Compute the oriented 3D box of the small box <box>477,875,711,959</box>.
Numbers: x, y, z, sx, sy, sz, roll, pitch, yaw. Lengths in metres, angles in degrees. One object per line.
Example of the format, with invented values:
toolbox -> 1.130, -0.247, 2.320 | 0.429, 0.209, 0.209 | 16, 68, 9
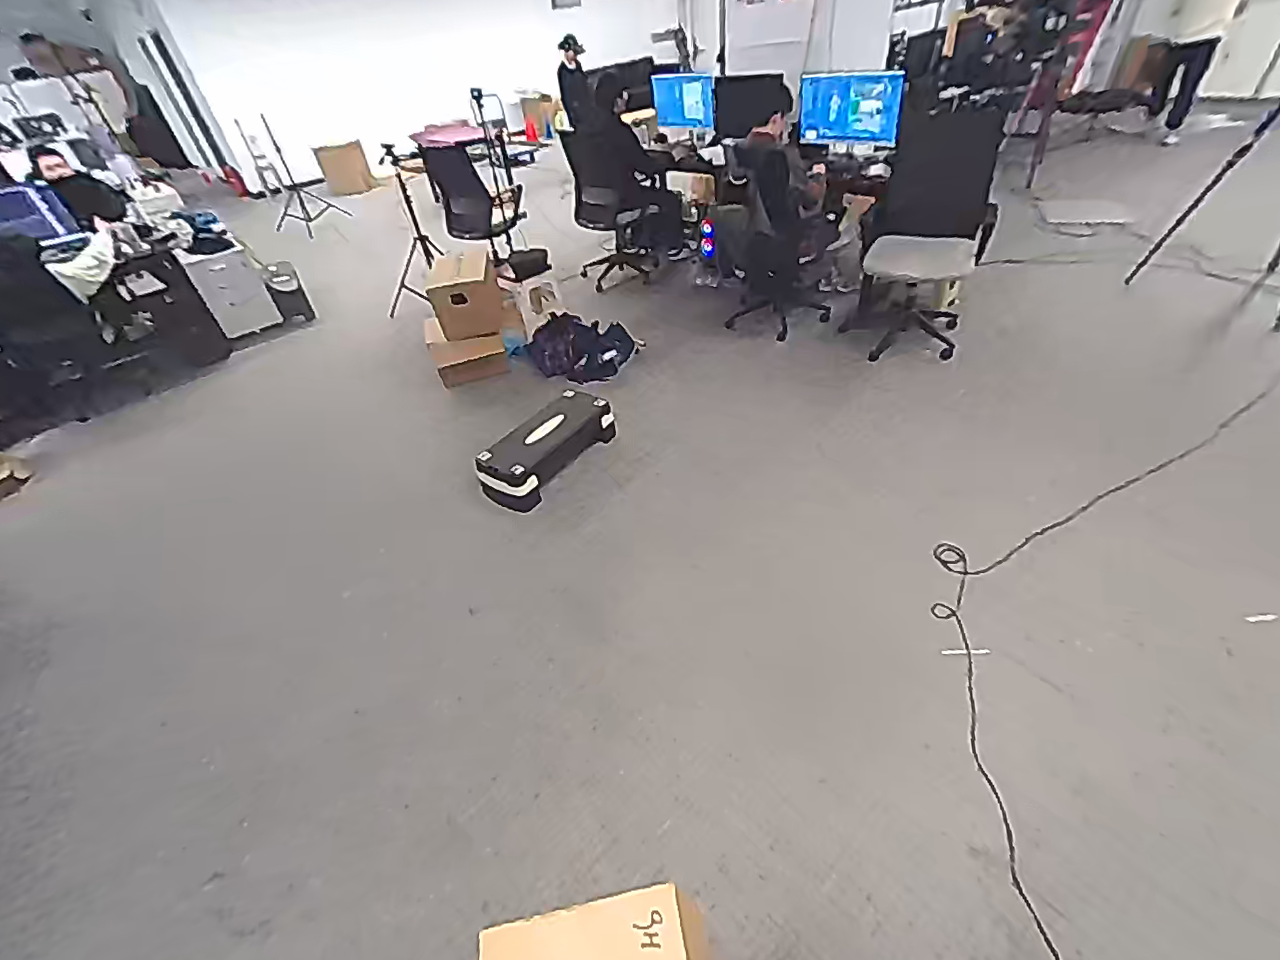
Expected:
small box -> -0.027, 0.468, 0.466 | 0.179, 0.176, 0.168 | -15, 47, 3
